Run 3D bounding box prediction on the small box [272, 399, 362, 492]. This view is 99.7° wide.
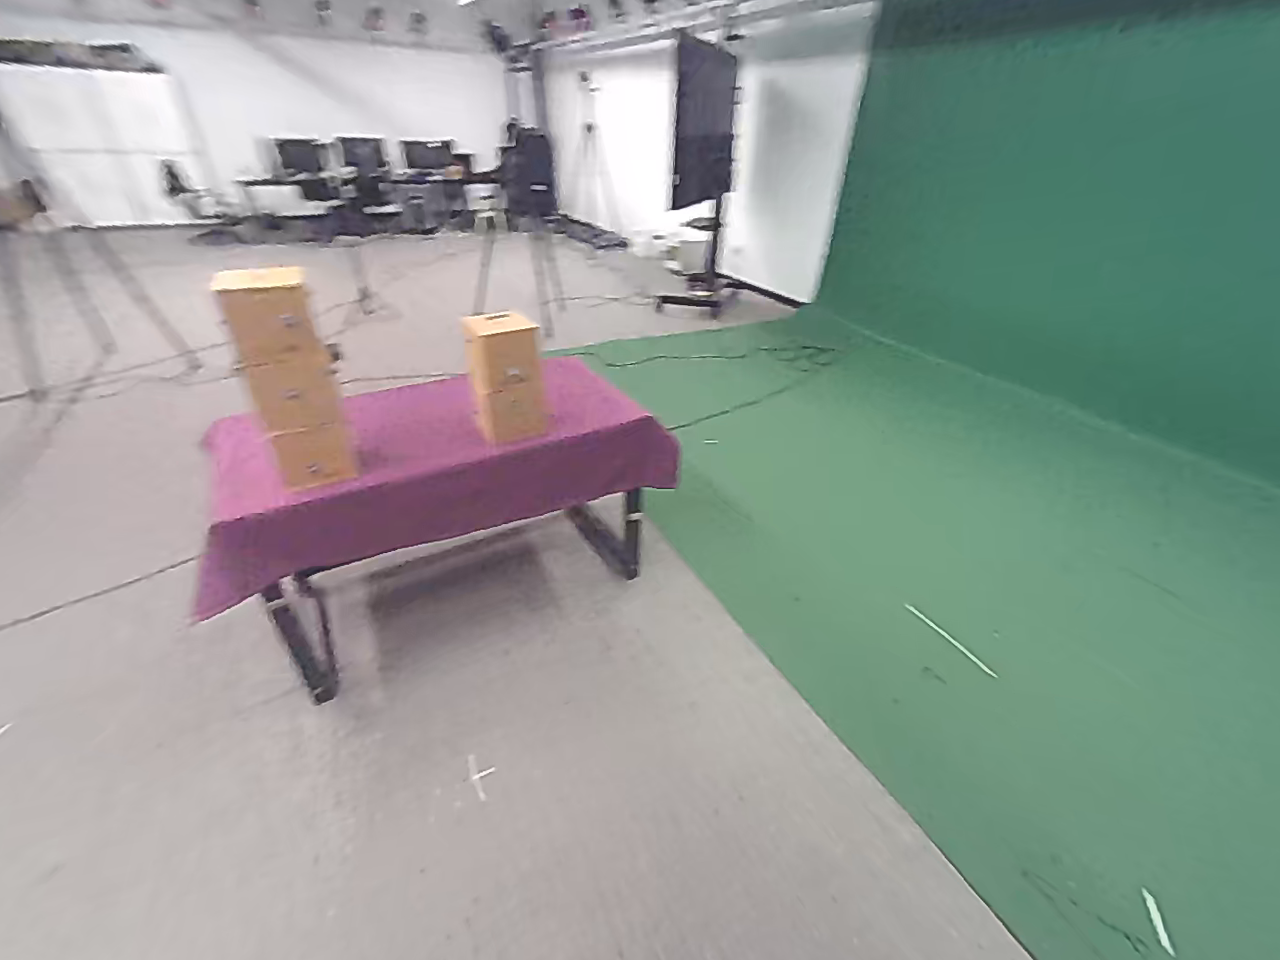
[{"bbox_3d":[-0.844,-0.093,1.419,0.168,0.176,0.179,-15,37,-25],"label":"small box"}]

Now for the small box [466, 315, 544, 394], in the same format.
[{"bbox_3d":[-0.387,-0.362,1.553,0.168,0.176,0.179,-18,38,-27],"label":"small box"}]

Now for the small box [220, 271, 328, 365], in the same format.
[{"bbox_3d":[-0.832,-0.371,1.245,0.168,0.176,0.179,-14,36,-25],"label":"small box"}]

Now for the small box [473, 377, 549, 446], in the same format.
[{"bbox_3d":[-0.387,-0.220,1.637,0.179,0.176,0.168,-15,37,-25],"label":"small box"}]
